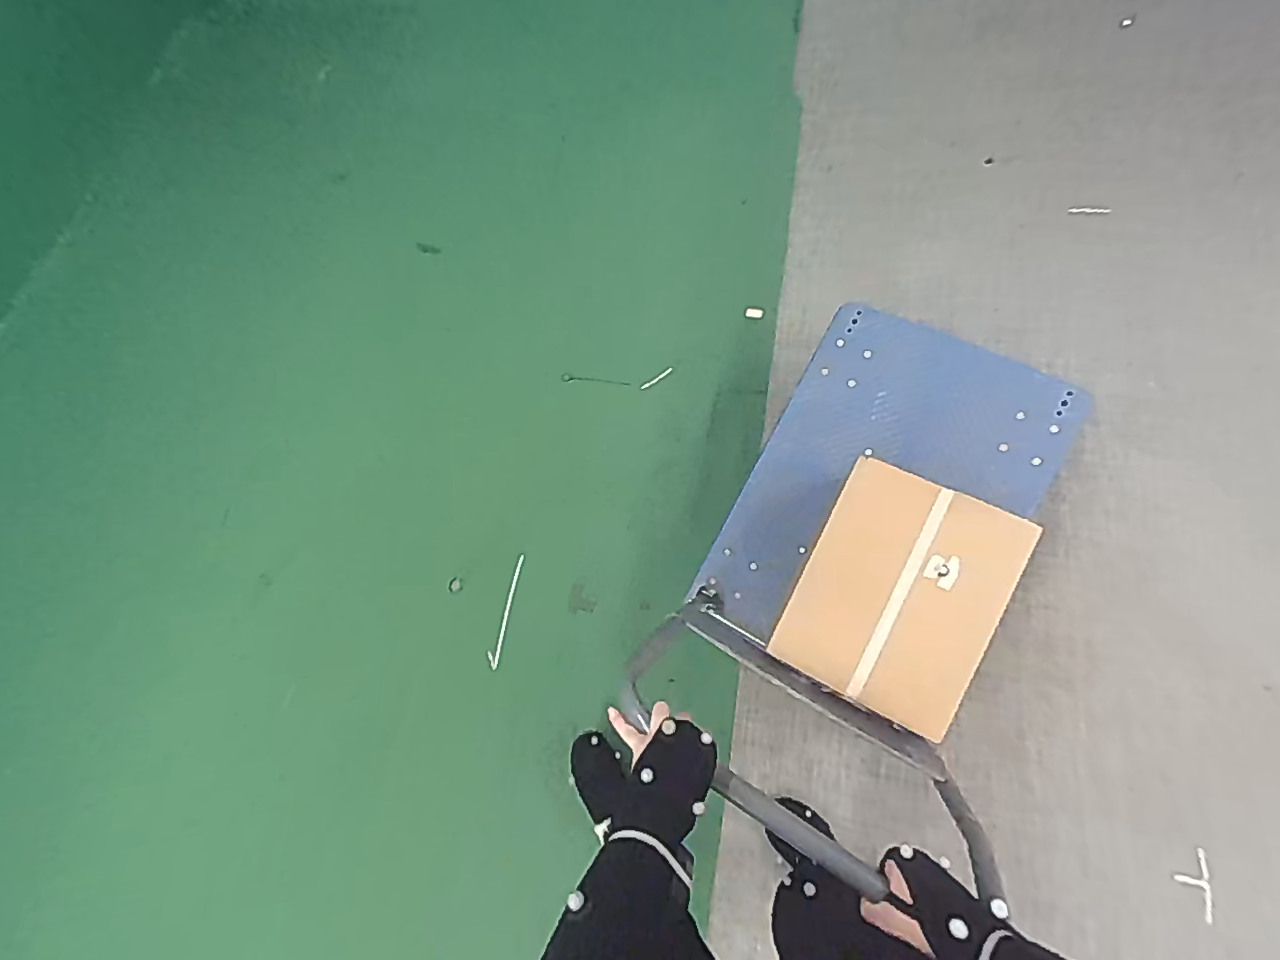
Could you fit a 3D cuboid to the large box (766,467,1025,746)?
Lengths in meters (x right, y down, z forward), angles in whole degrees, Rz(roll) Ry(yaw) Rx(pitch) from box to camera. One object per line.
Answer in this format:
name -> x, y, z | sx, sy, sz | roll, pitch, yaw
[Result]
large box -> 0.483, 0.239, 1.103 | 0.320, 0.320, 0.408 | 26, 88, 16
